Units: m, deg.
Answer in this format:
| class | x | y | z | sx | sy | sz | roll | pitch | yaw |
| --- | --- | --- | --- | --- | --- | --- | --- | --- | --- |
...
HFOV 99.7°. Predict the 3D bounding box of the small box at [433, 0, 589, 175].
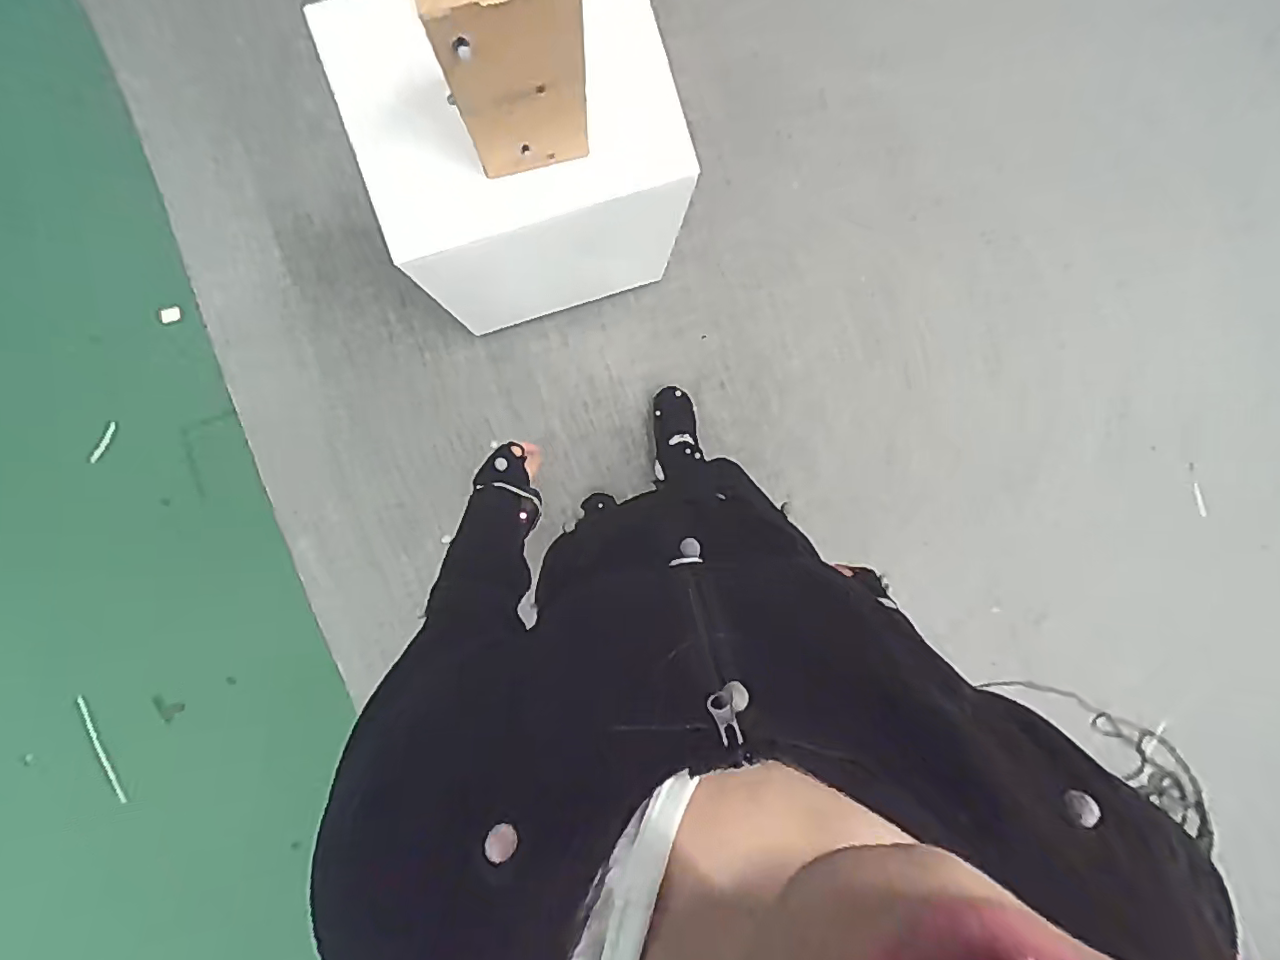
| class | x | y | z | sx | sy | sz | roll | pitch | yaw |
| --- | --- | --- | --- | --- | --- | --- | --- | --- | --- |
| small box | -0.171 | -0.566 | 0.749 | 0.168 | 0.176 | 0.179 | -15 | 94 | -3 |
